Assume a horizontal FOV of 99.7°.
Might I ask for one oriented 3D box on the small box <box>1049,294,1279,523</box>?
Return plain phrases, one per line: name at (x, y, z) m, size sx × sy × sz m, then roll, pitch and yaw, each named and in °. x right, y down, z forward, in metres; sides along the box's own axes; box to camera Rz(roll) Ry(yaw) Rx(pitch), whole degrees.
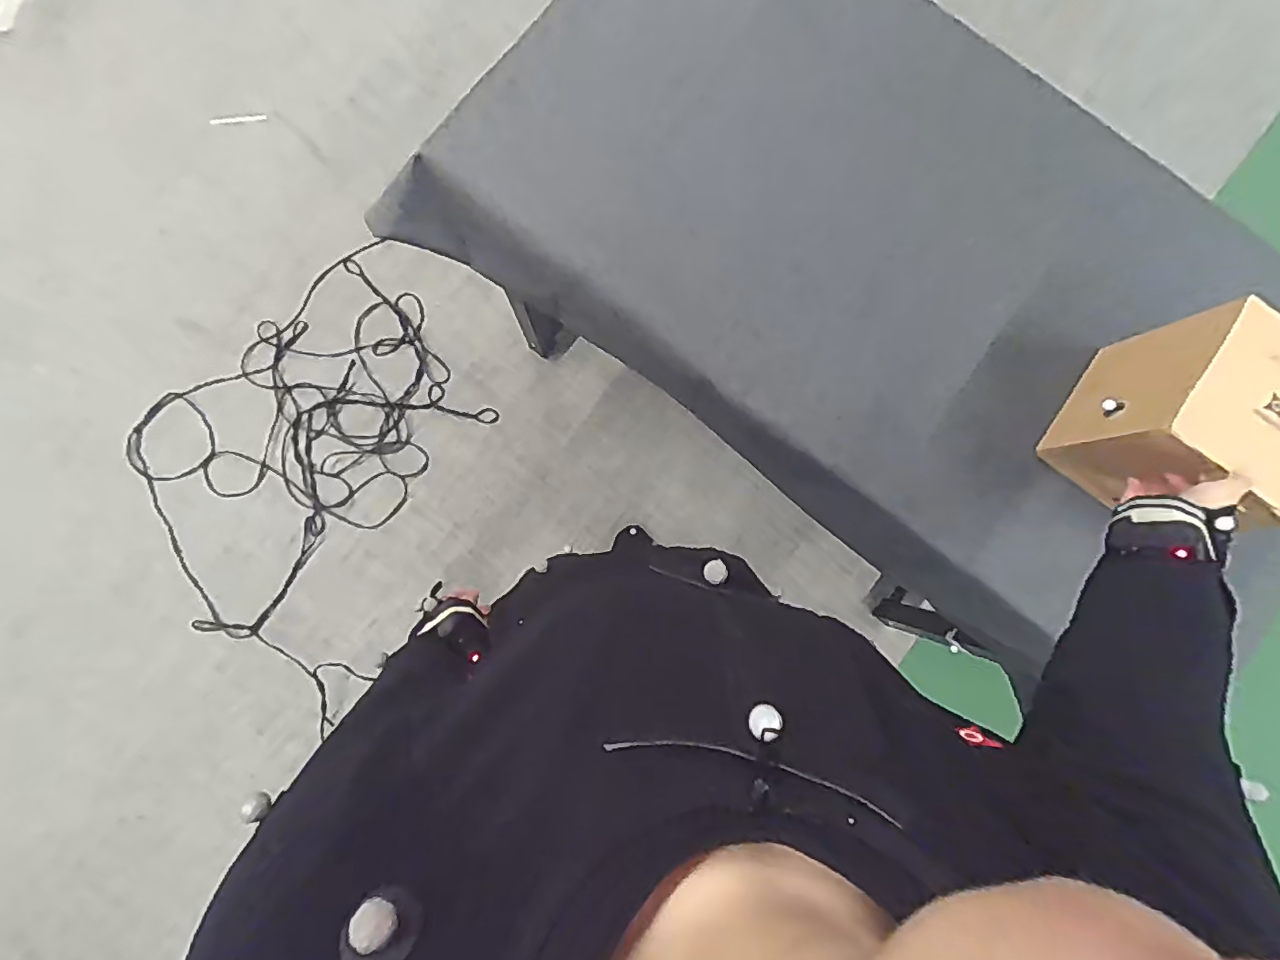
small box at (0.616, -0.063, 0.606) m, size 0.168 × 0.176 × 0.179 m, roll 36°, pitch 83°, yaw 0°
